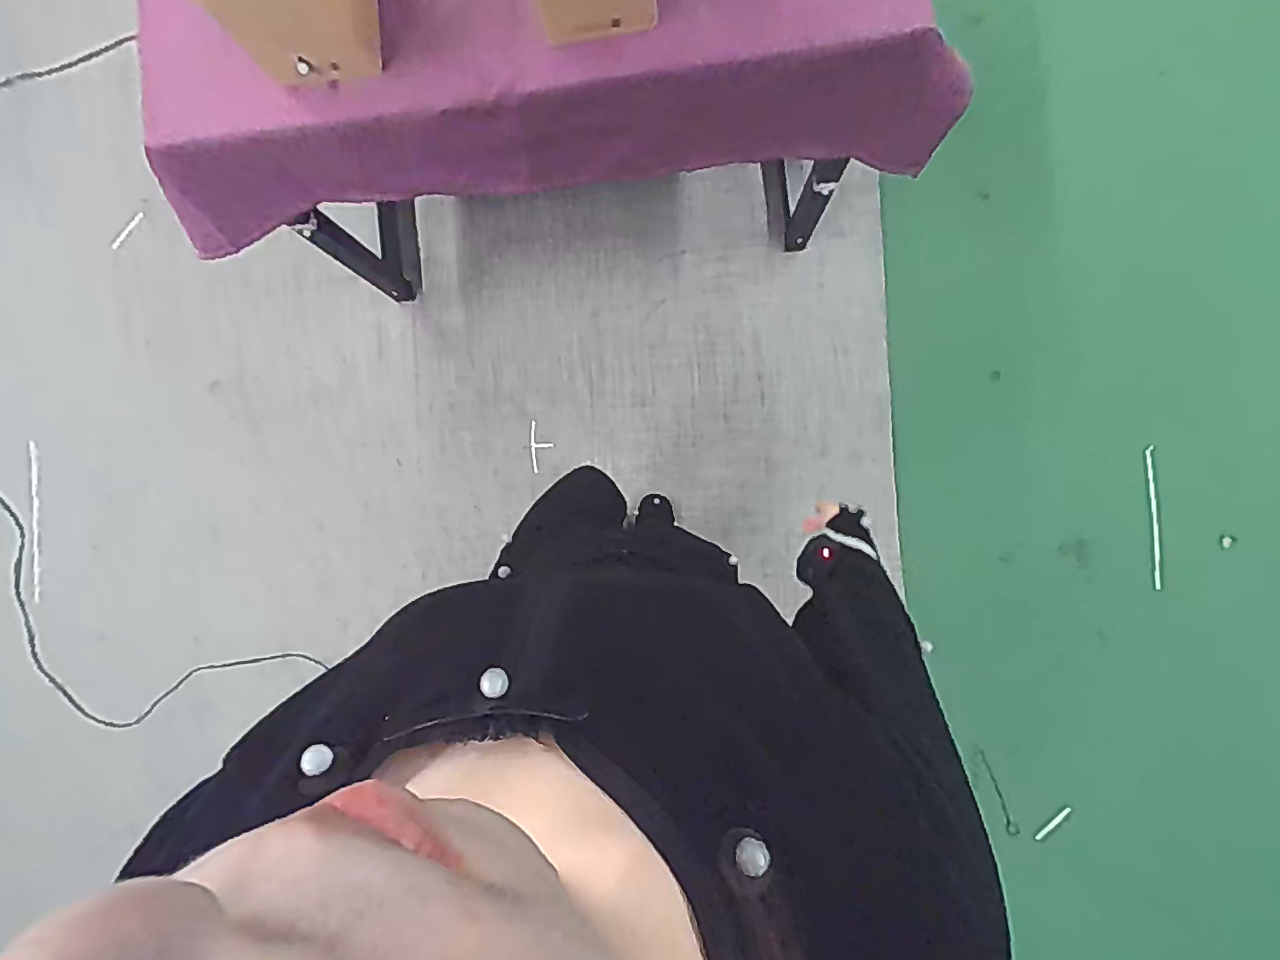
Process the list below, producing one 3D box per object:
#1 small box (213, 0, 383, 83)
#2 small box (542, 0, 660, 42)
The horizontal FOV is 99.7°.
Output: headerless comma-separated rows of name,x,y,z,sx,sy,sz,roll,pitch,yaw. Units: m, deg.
small box,-0.481,-0.703,0.750,0.168,0.176,0.179,-4,89,4
small box,-0.063,-0.747,0.725,0.168,0.176,0.179,-5,87,5
